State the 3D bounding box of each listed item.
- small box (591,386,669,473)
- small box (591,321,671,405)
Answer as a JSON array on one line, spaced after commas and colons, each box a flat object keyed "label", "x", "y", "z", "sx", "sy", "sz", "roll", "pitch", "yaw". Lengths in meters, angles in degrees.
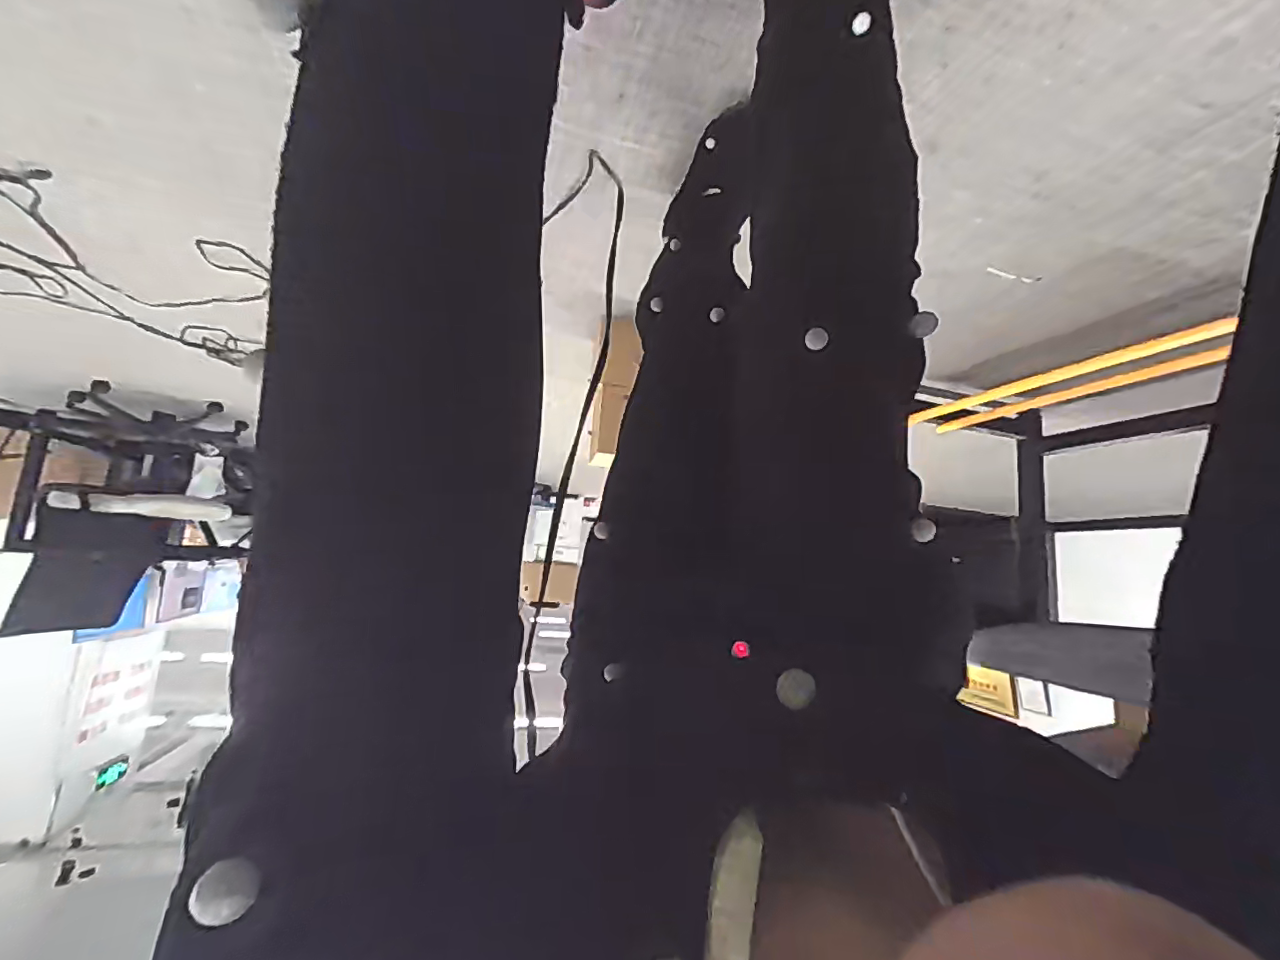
[{"label": "small box", "x": -0.026, "y": -0.120, "z": 1.333, "sx": 0.168, "sy": 0.176, "sz": 0.179, "roll": 5, "pitch": 170, "yaw": -10}, {"label": "small box", "x": -0.024, "y": -0.282, "z": 1.352, "sx": 0.179, "sy": 0.176, "sz": 0.168, "roll": 5, "pitch": 171, "yaw": -10}]
